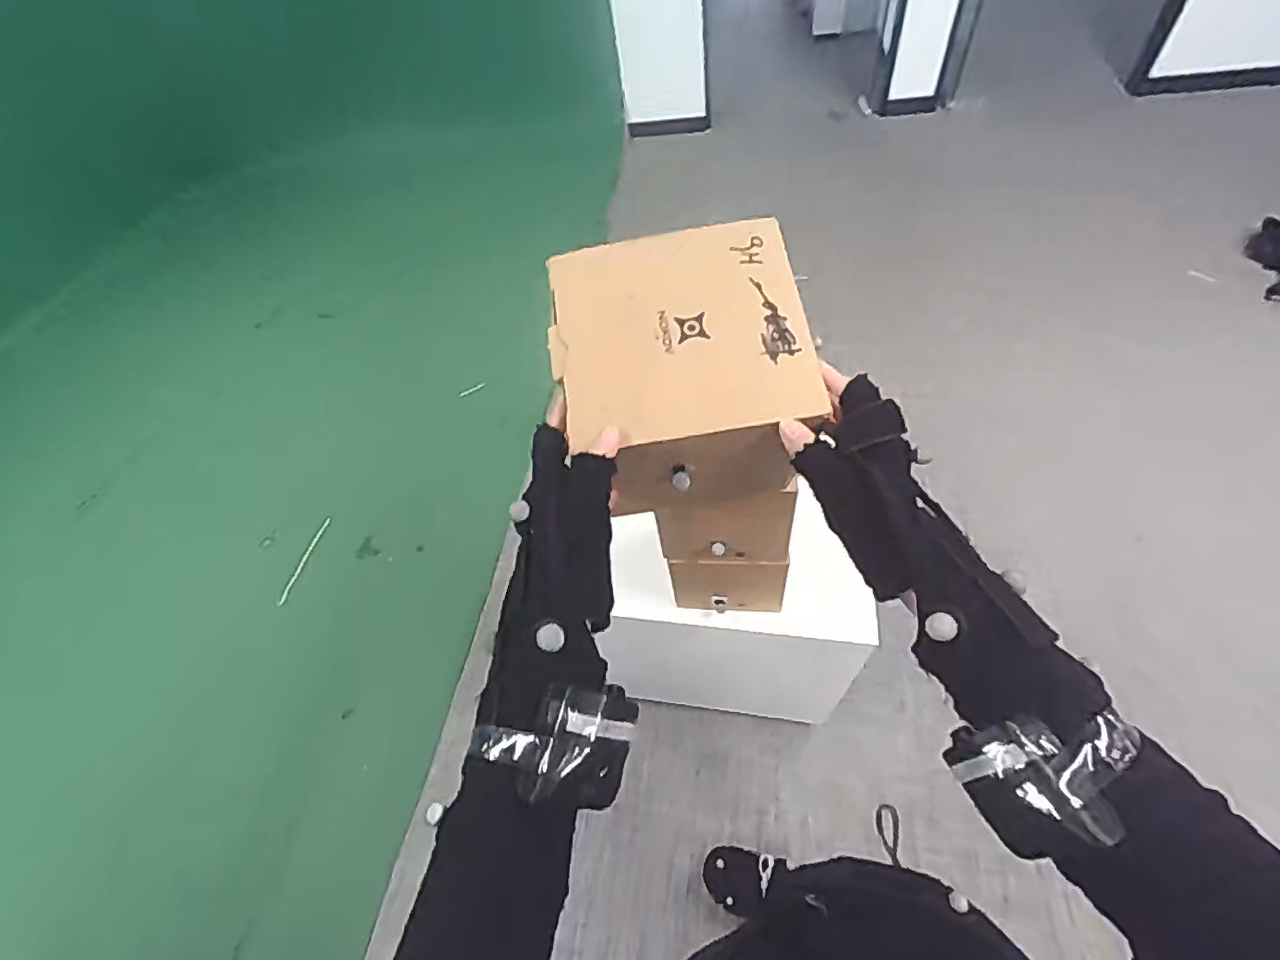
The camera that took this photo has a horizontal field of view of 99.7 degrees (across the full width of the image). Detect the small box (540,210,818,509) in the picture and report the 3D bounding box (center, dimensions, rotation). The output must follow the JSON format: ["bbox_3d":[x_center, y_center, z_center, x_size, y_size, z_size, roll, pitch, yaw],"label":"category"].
[{"bbox_3d":[0.028,-0.083,0.449,0.179,0.176,0.168,-9,71,3],"label":"small box"}]

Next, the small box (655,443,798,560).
[{"bbox_3d":[0.105,-0.013,0.701,0.168,0.176,0.179,-3,53,9],"label":"small box"}]

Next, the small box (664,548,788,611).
[{"bbox_3d":[0.132,0.086,0.829,0.168,0.176,0.179,-2,56,11],"label":"small box"}]
